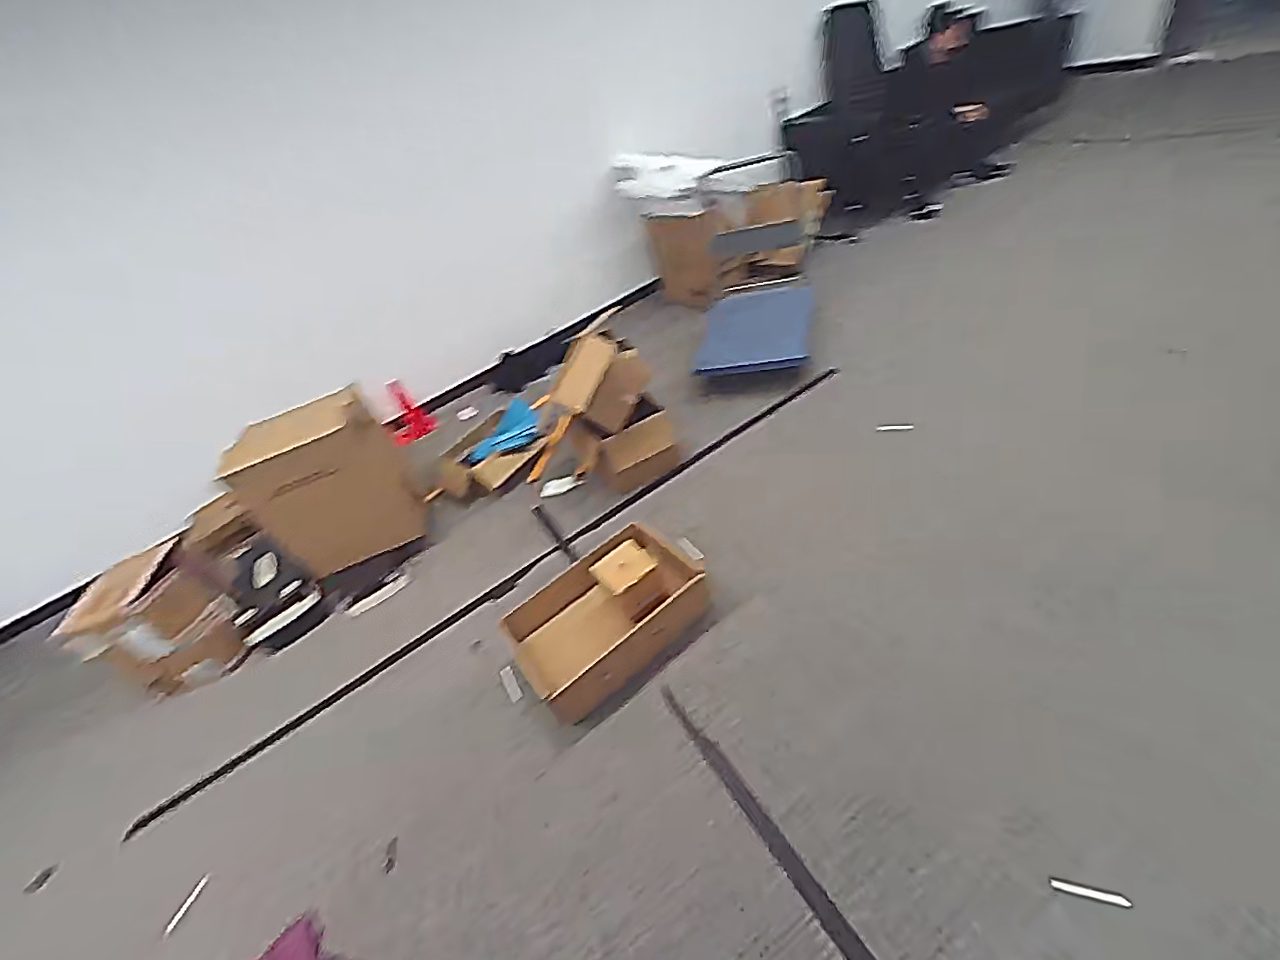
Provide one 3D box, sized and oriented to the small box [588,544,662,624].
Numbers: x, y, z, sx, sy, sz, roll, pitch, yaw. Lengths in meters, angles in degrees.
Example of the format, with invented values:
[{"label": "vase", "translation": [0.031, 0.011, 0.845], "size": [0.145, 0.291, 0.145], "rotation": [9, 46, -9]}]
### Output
[{"label": "small box", "translation": [-0.049, 0.361, 1.866], "size": [0.168, 0.176, 0.179], "rotation": [-36, 41, -18]}]
